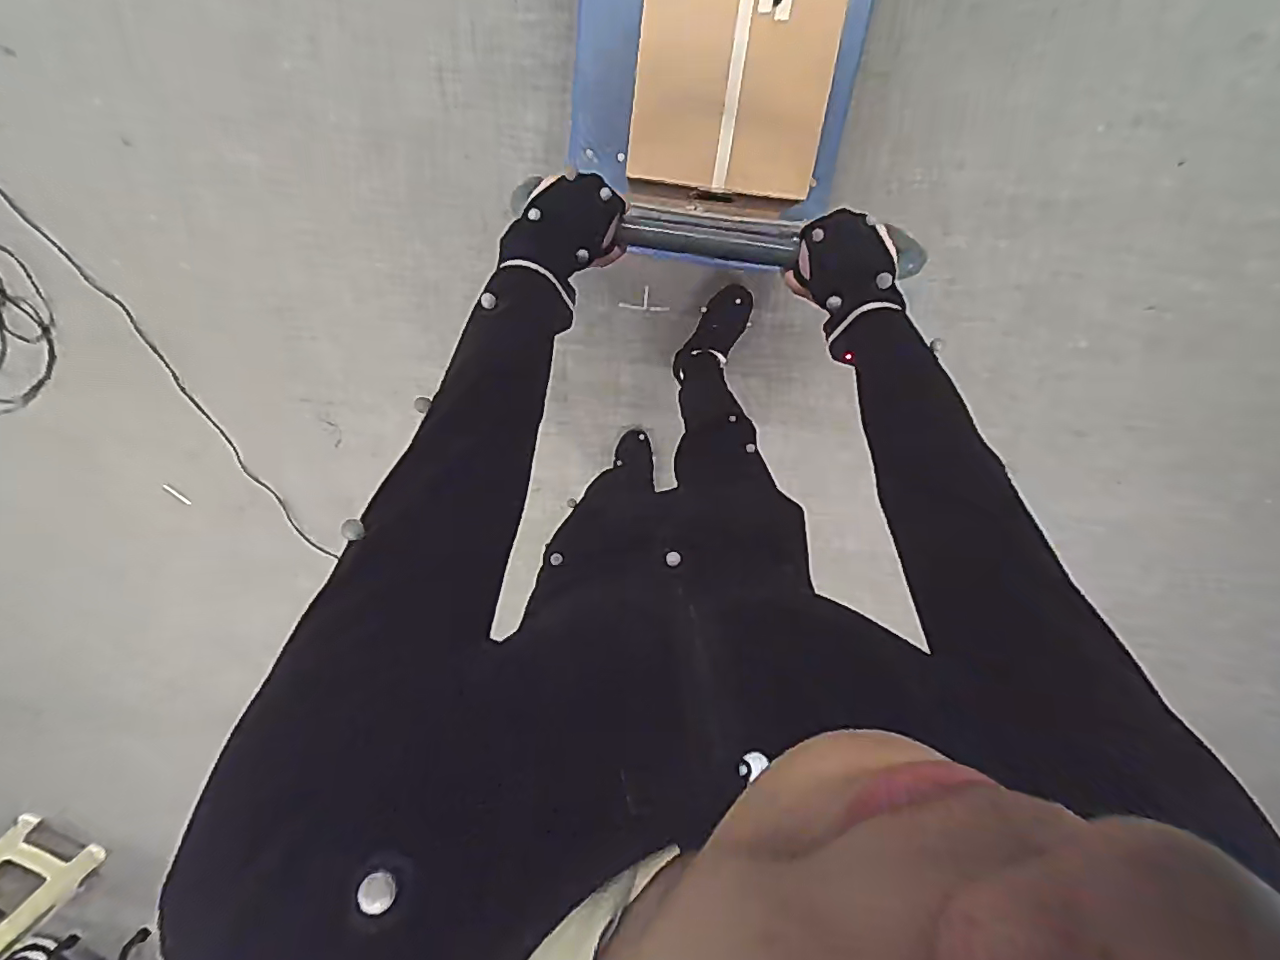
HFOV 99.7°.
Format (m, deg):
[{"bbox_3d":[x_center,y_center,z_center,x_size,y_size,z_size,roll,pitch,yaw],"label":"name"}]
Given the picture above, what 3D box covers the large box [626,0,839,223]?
[{"bbox_3d":[0.154,-0.728,1.005,0.320,0.320,0.408,7,108,-1],"label":"large box"}]
